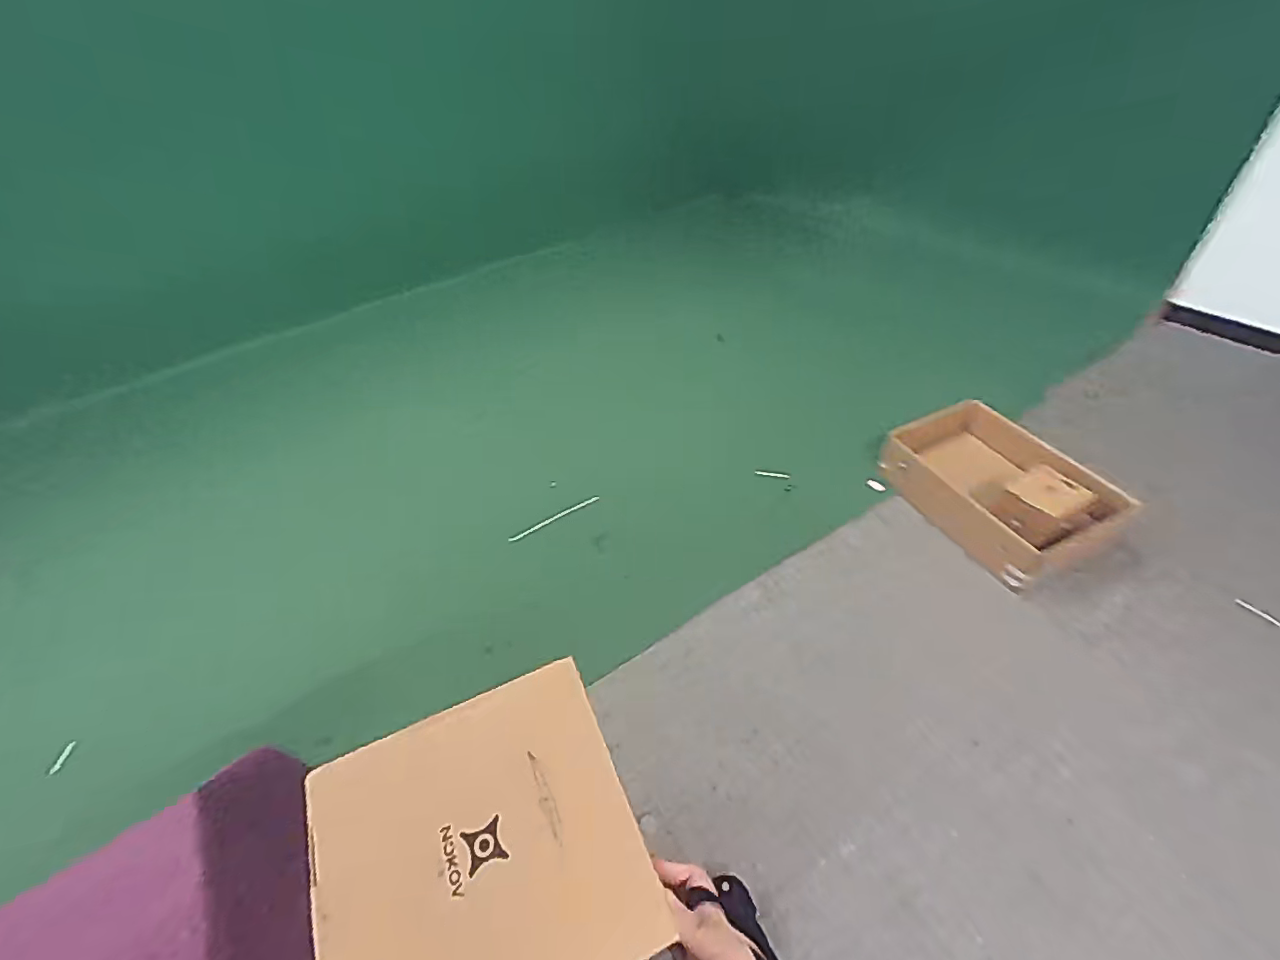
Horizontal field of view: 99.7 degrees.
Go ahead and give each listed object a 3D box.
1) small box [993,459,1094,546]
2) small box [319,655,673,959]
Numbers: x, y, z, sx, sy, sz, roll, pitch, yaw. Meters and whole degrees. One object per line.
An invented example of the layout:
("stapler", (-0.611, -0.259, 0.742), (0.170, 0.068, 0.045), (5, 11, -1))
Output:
("small box", (1.224, 0.072, 1.660), (0.179, 0.176, 0.168), (-25, 46, -14))
("small box", (-0.087, 0.255, 0.371), (0.179, 0.176, 0.168), (-19, 54, -13))
